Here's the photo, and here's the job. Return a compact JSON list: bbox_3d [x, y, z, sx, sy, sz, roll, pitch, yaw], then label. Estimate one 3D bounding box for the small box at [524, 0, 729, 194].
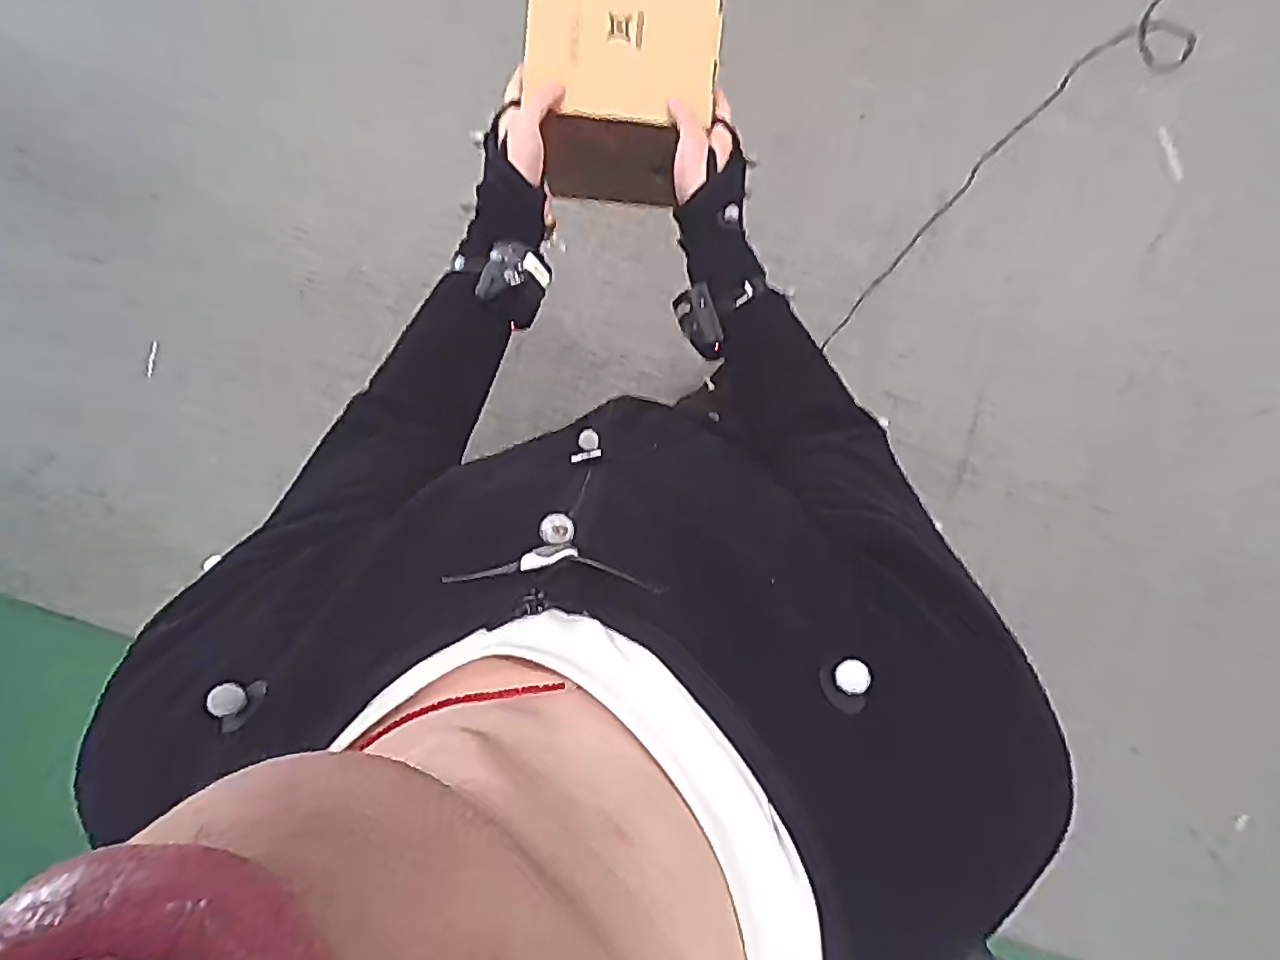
[{"bbox_3d":[-0.009,-0.423,0.564,0.179,0.176,0.168,6,91,1],"label":"small box"}]
